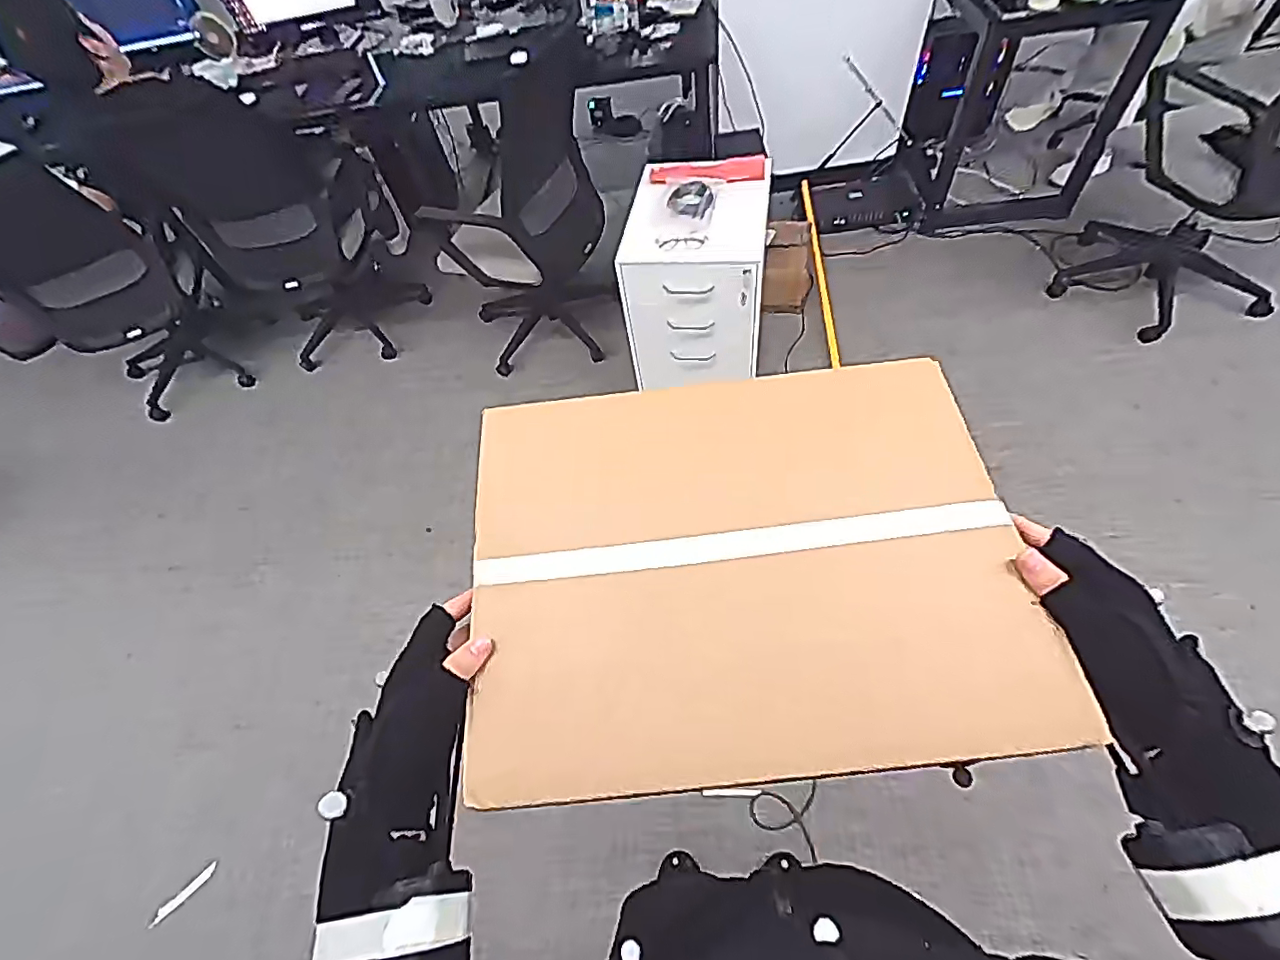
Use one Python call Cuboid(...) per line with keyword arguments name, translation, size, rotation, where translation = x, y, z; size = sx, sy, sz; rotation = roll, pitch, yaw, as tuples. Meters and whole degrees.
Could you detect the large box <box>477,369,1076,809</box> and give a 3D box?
Cuboid(name="large box", translation=(0.085, 0.124, 0.552), size=(0.408, 0.320, 0.320), rotation=(-6, 61, 1))
